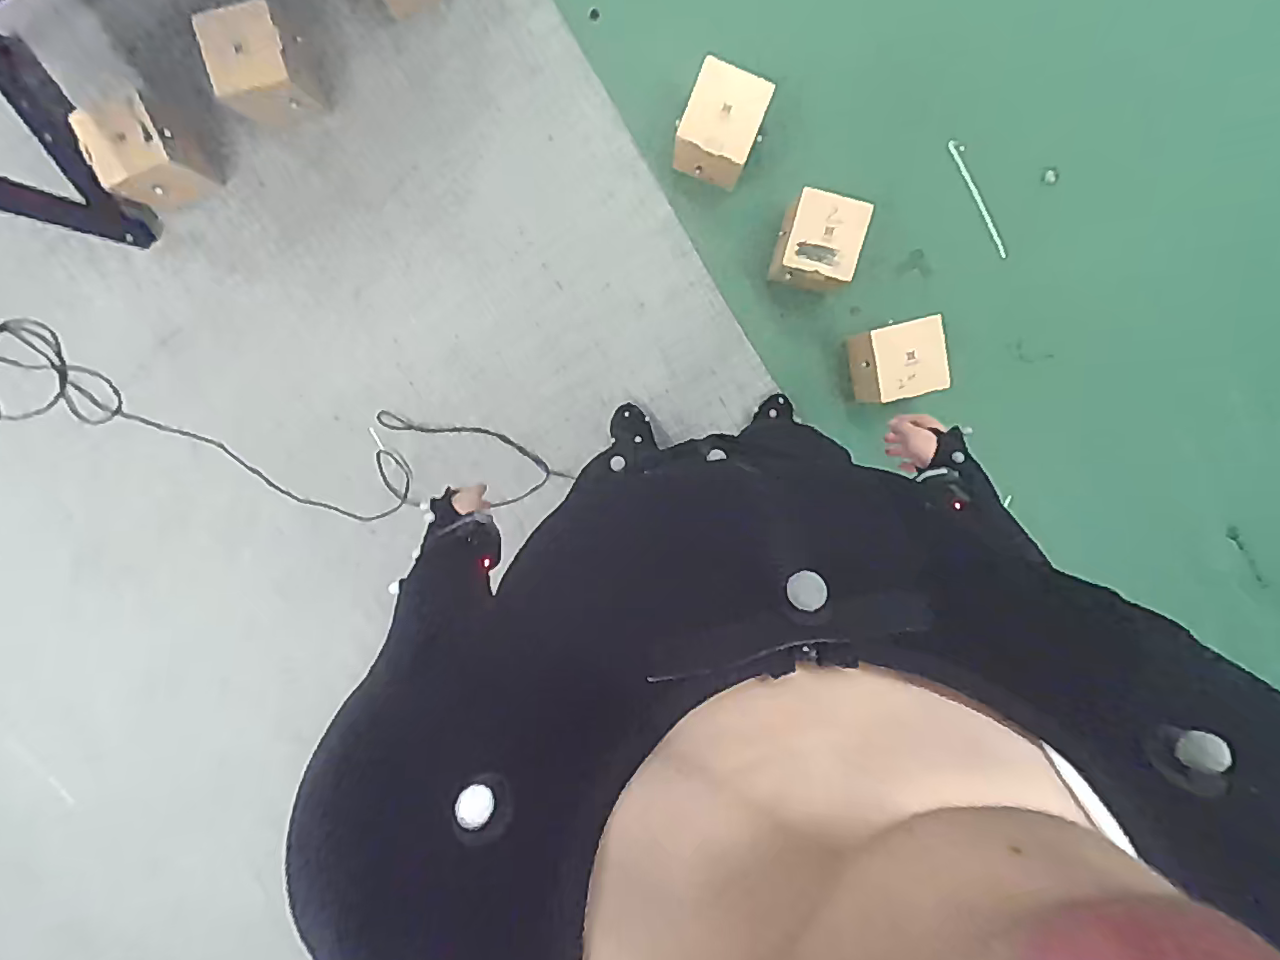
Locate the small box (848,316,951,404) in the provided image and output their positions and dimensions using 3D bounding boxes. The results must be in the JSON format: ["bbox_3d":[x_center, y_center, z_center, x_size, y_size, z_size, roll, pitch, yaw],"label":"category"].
[{"bbox_3d":[0.634,-0.291,1.339,0.168,0.176,0.179,-13,100,4],"label":"small box"}]

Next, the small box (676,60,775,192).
[{"bbox_3d":[0.189,-0.812,1.260,0.168,0.176,0.179,22,100,-3],"label":"small box"}]

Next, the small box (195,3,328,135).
[{"bbox_3d":[-0.861,-0.942,1.255,0.179,0.176,0.168,-12,99,4],"label":"small box"}]

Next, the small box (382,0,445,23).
[{"bbox_3d":[-0.540,-1.187,1.206,0.179,0.176,0.168,-27,99,4],"label":"small box"}]

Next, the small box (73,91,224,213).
[{"bbox_3d":[-1.160,-0.769,1.291,0.179,0.176,0.168,-20,99,5],"label":"small box"}]
